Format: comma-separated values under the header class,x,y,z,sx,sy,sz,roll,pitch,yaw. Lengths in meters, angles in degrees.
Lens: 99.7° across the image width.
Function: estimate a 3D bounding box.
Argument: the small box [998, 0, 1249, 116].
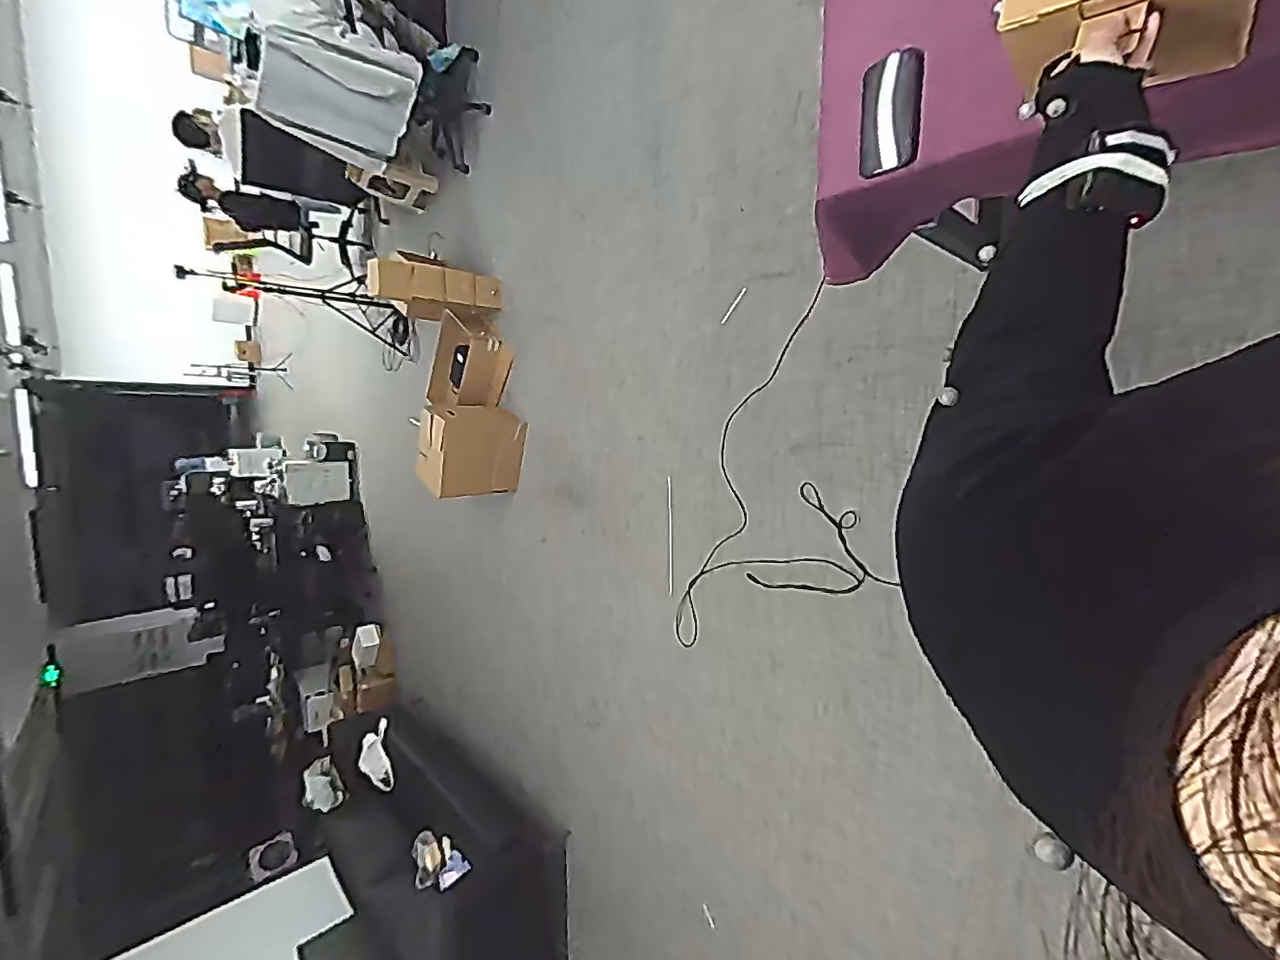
class,x,y,z,sx,sy,sz,roll,pitch,yaw
small box,0.456,-0.482,0.496,0.168,0.176,0.179,15,102,42
